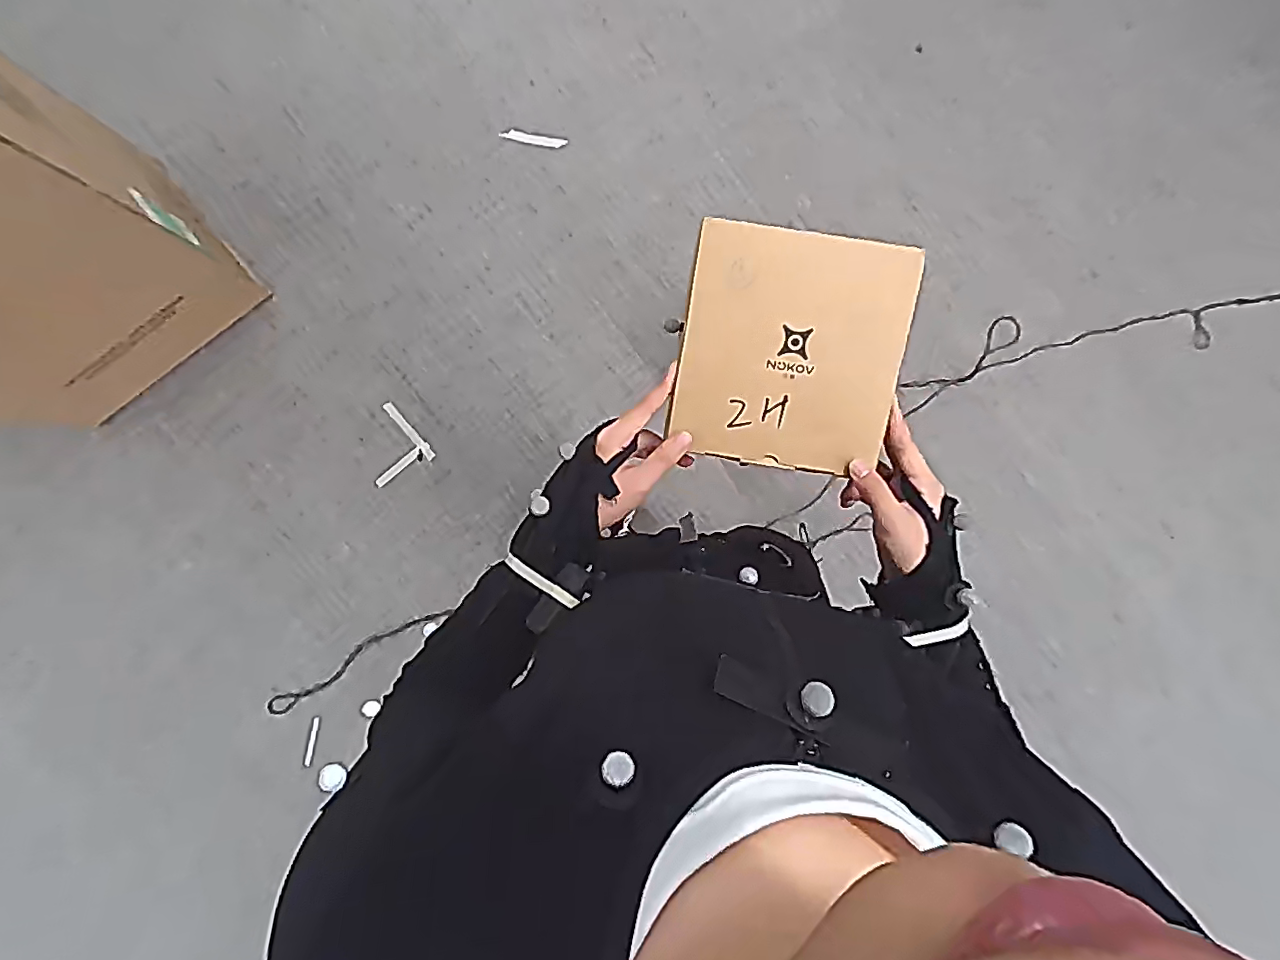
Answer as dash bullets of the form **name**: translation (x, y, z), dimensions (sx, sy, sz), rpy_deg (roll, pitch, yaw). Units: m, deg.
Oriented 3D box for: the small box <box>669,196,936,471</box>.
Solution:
- **small box**: translation (0.119, -0.117, 0.474), dimensions (0.168, 0.176, 0.179), rpy_deg (9, 100, 1)
